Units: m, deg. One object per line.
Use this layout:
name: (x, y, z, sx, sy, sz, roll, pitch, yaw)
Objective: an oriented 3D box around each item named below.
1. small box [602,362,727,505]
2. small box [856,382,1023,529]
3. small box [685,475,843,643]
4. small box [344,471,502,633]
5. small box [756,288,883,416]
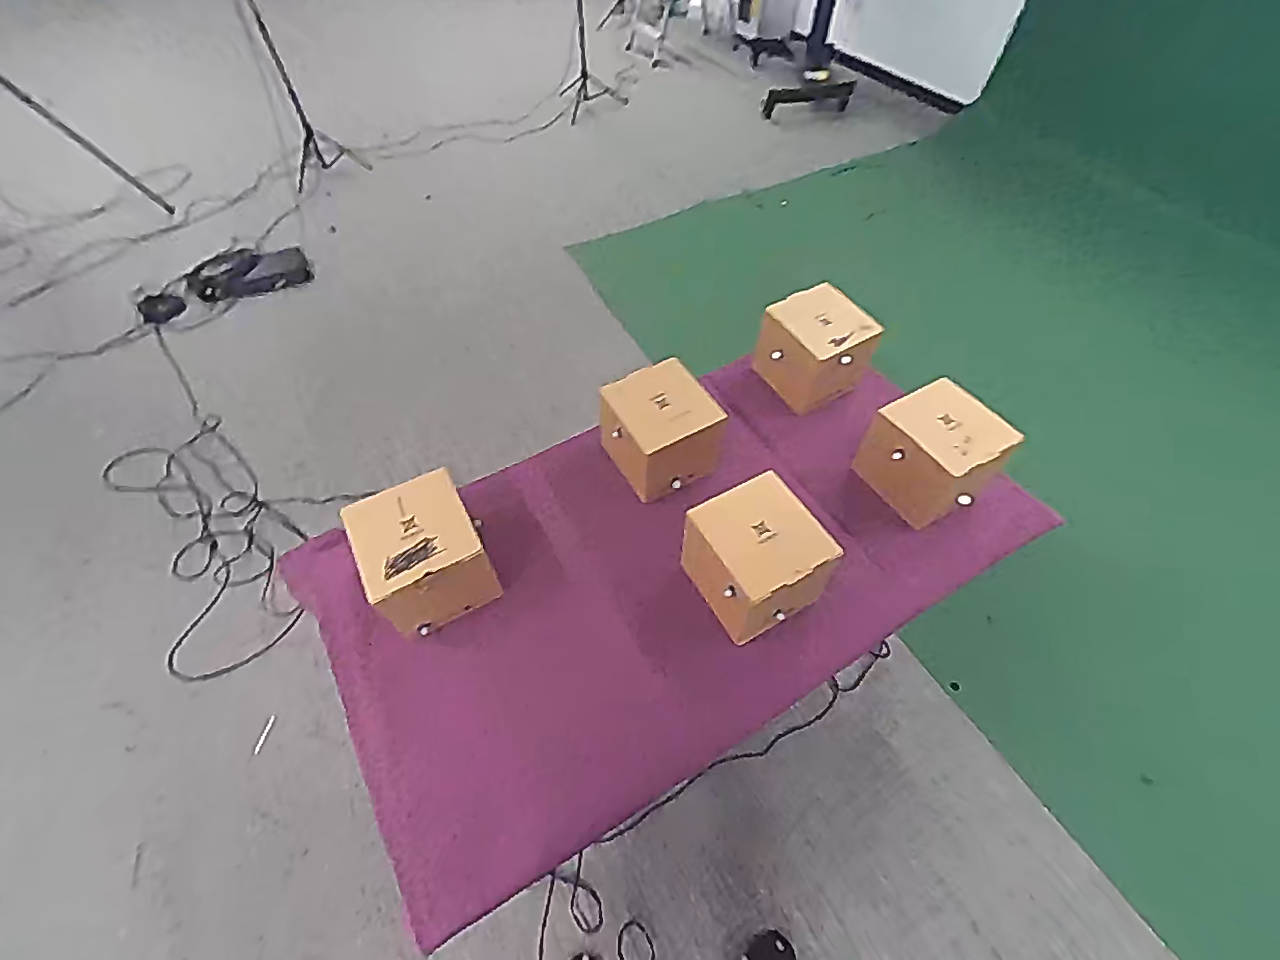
small box: (0.039, -0.085, 1.023, 0.168, 0.176, 0.179, -25, 60, -17)
small box: (0.531, -0.042, 0.990, 0.168, 0.176, 0.179, -25, 57, -15)
small box: (0.185, 0.130, 0.871, 0.168, 0.176, 0.179, -24, 57, -17)
small box: (-0.339, 0.124, 0.869, 0.168, 0.176, 0.179, -25, 59, -18)
small box: (0.368, -0.269, 1.150, 0.168, 0.176, 0.179, -27, 60, -16)
